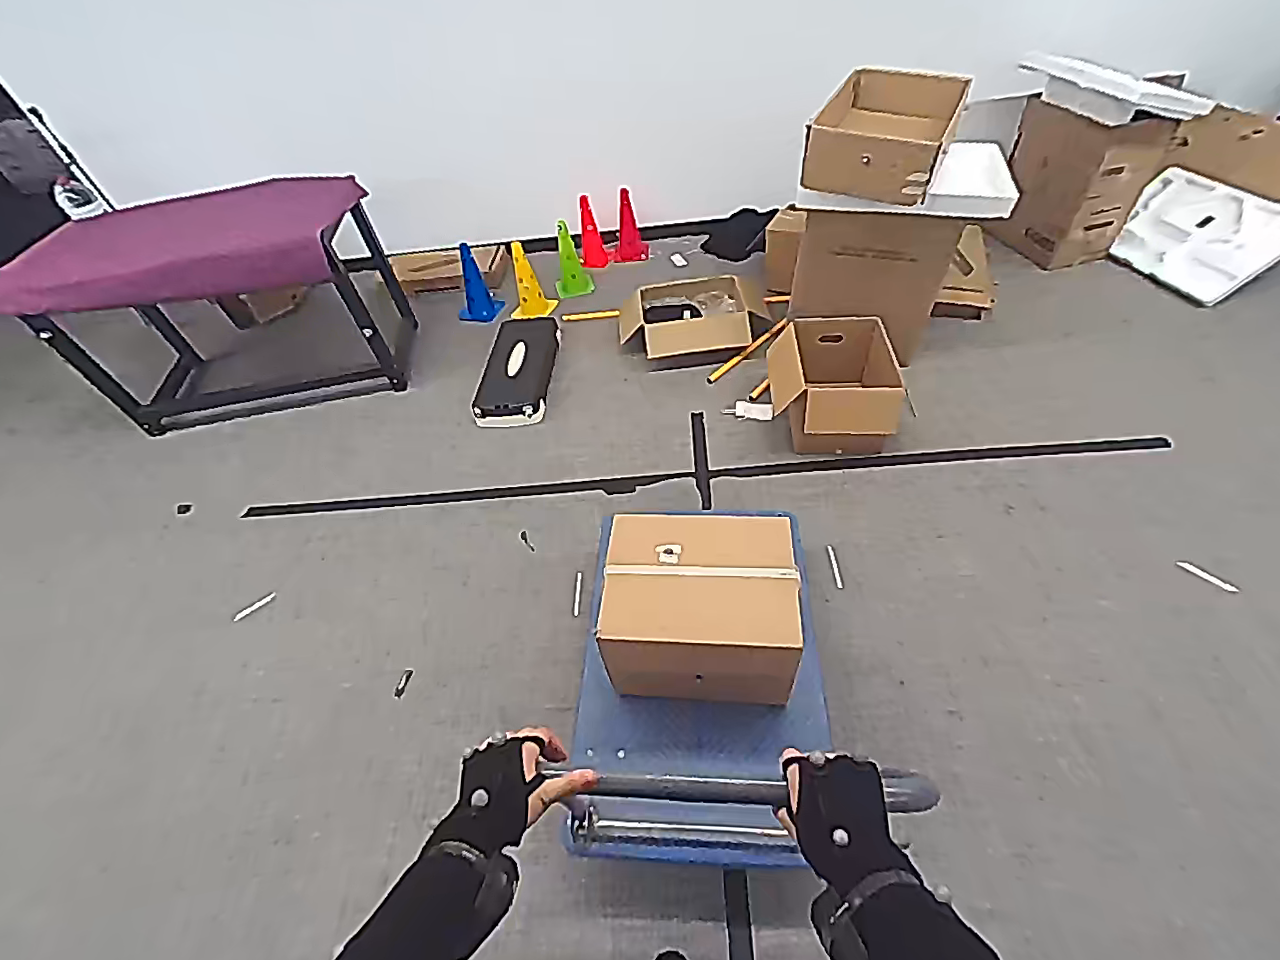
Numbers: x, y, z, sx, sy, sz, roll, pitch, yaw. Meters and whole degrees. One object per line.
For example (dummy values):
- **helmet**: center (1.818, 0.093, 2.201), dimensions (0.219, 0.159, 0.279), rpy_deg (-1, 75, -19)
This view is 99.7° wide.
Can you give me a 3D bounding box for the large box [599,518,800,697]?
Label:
- **large box**: center (0.143, 0.303, 1.275), dimensions (0.408, 0.320, 0.320), rpy_deg (0, 48, 8)
